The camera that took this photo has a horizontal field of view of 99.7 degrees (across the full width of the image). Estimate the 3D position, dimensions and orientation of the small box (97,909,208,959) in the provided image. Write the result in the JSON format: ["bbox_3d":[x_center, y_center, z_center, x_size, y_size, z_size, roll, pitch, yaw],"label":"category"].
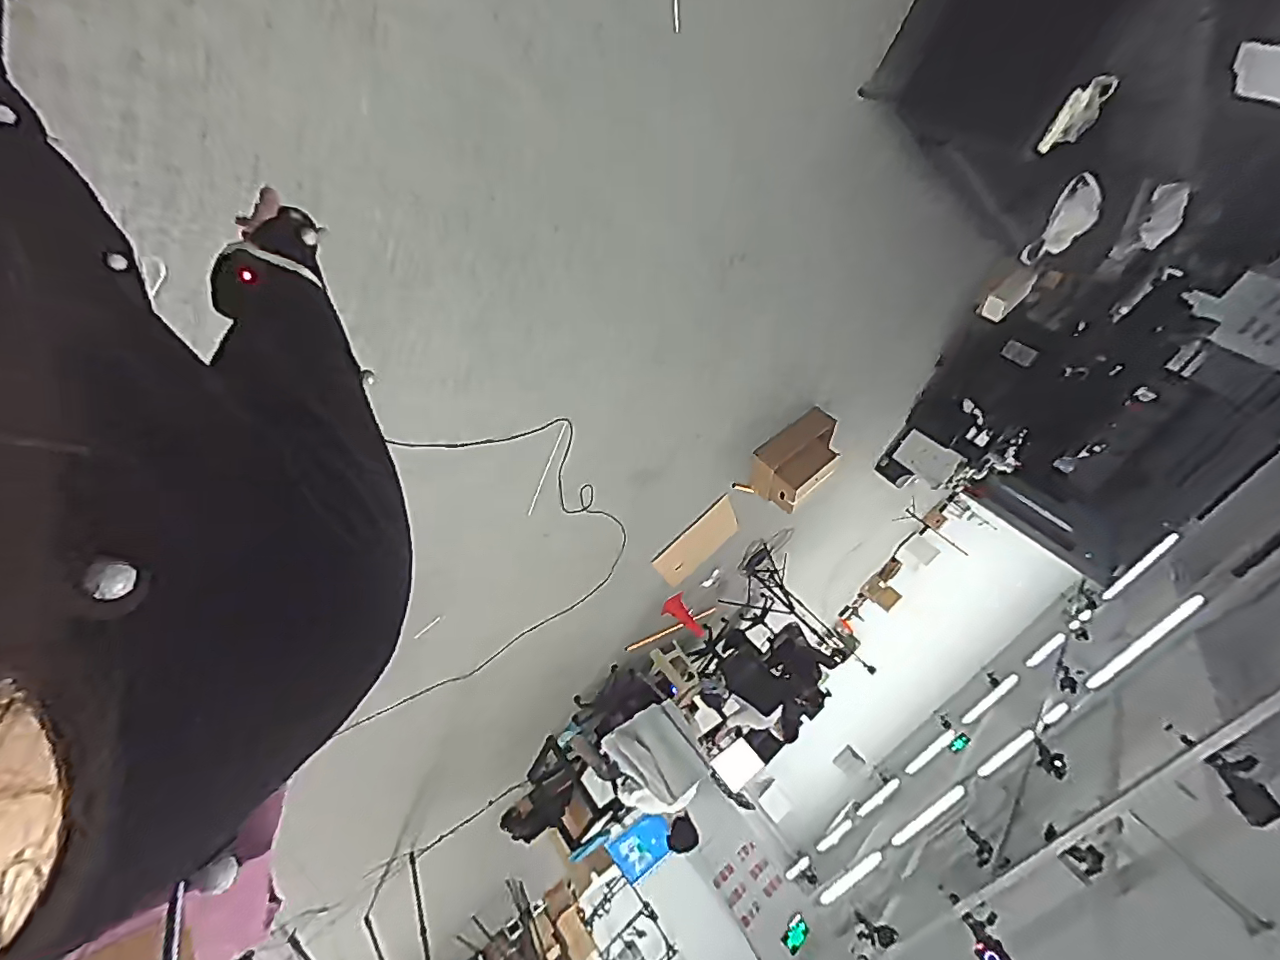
[{"bbox_3d":[-1.081,1.112,1.199,0.179,0.176,0.168,-6,131,-48],"label":"small box"}]
